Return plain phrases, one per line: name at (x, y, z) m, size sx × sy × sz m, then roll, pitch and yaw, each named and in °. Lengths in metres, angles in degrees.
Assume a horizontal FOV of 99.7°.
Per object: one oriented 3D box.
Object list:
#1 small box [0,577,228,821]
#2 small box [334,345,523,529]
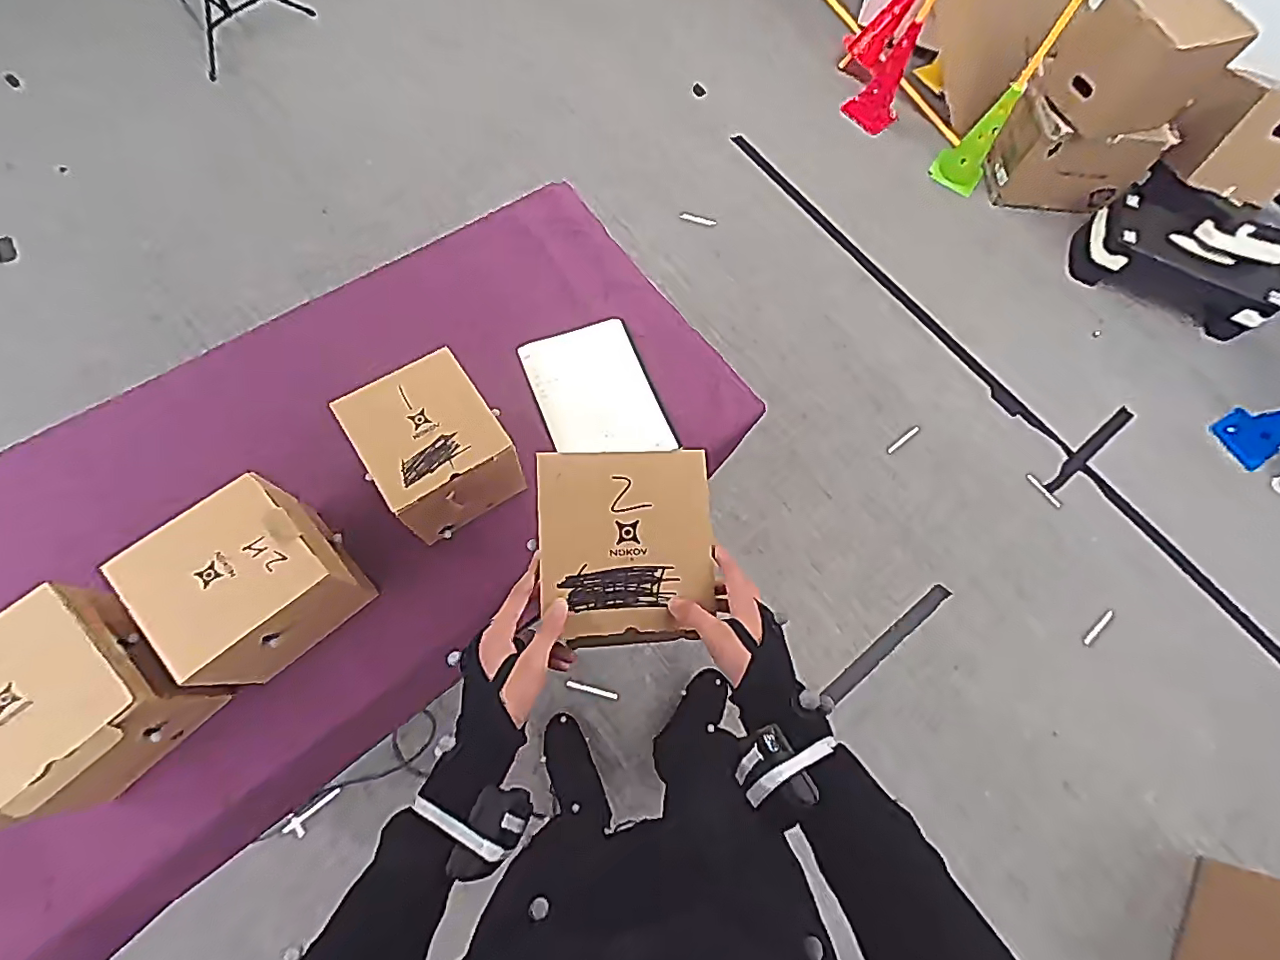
small box at (-0.630, 0.238, 0.615) m, size 0.179 × 0.176 × 0.168 m, roll 44°, pitch 71°, yaw 10°
small box at (-0.279, -0.047, 0.756) m, size 0.168 × 0.176 × 0.179 m, roll -32°, pitch 76°, yaw -16°
